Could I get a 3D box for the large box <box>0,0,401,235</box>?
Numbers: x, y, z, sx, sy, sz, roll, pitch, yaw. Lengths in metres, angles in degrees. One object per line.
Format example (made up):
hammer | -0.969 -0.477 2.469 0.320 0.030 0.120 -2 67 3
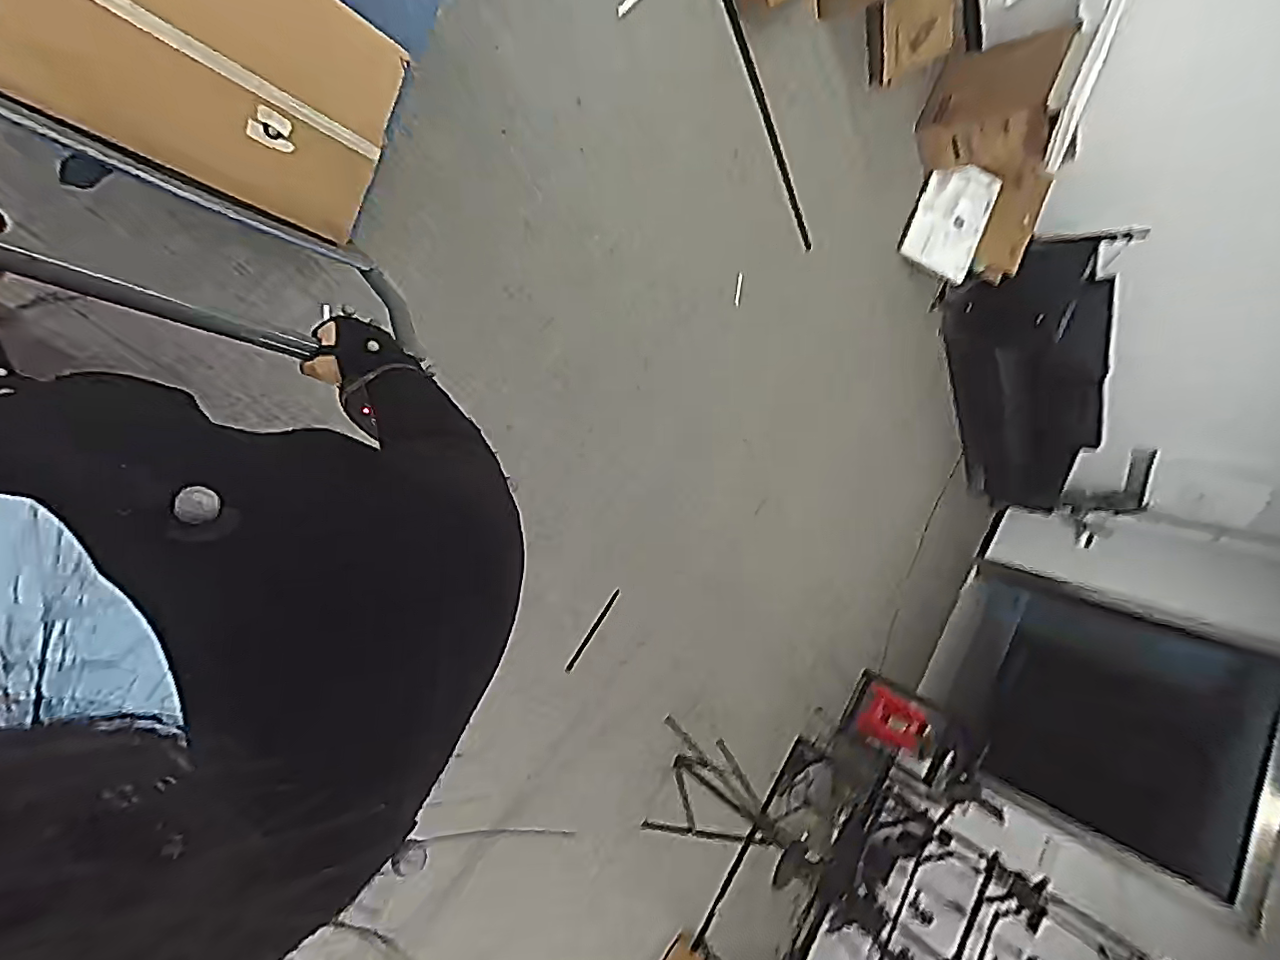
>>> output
large box | -0.662 -0.644 0.831 0.408 0.320 0.320 14 110 -47
